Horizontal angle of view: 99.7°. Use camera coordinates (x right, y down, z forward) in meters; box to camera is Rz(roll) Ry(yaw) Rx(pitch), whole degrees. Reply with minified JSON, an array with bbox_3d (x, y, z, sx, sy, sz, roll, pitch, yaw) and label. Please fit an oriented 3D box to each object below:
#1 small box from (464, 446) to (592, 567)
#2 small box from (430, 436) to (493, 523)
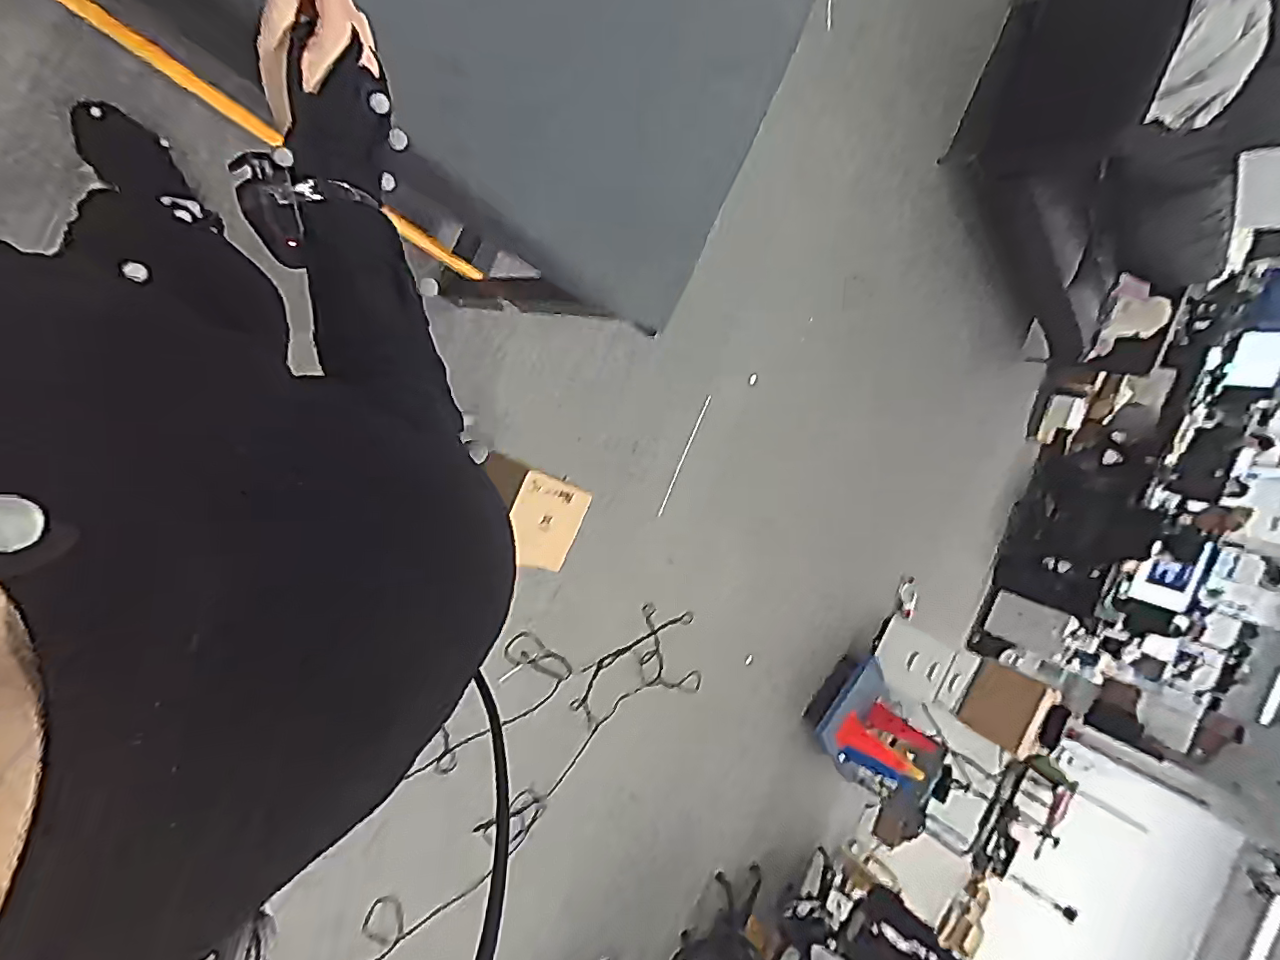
[{"bbox_3d":[-0.235,0.051,1.105,0.168,0.176,0.179,26,88,-43],"label":"small box"},{"bbox_3d":[-0.344,0.011,1.221,0.179,0.176,0.168,24,89,-44],"label":"small box"}]
